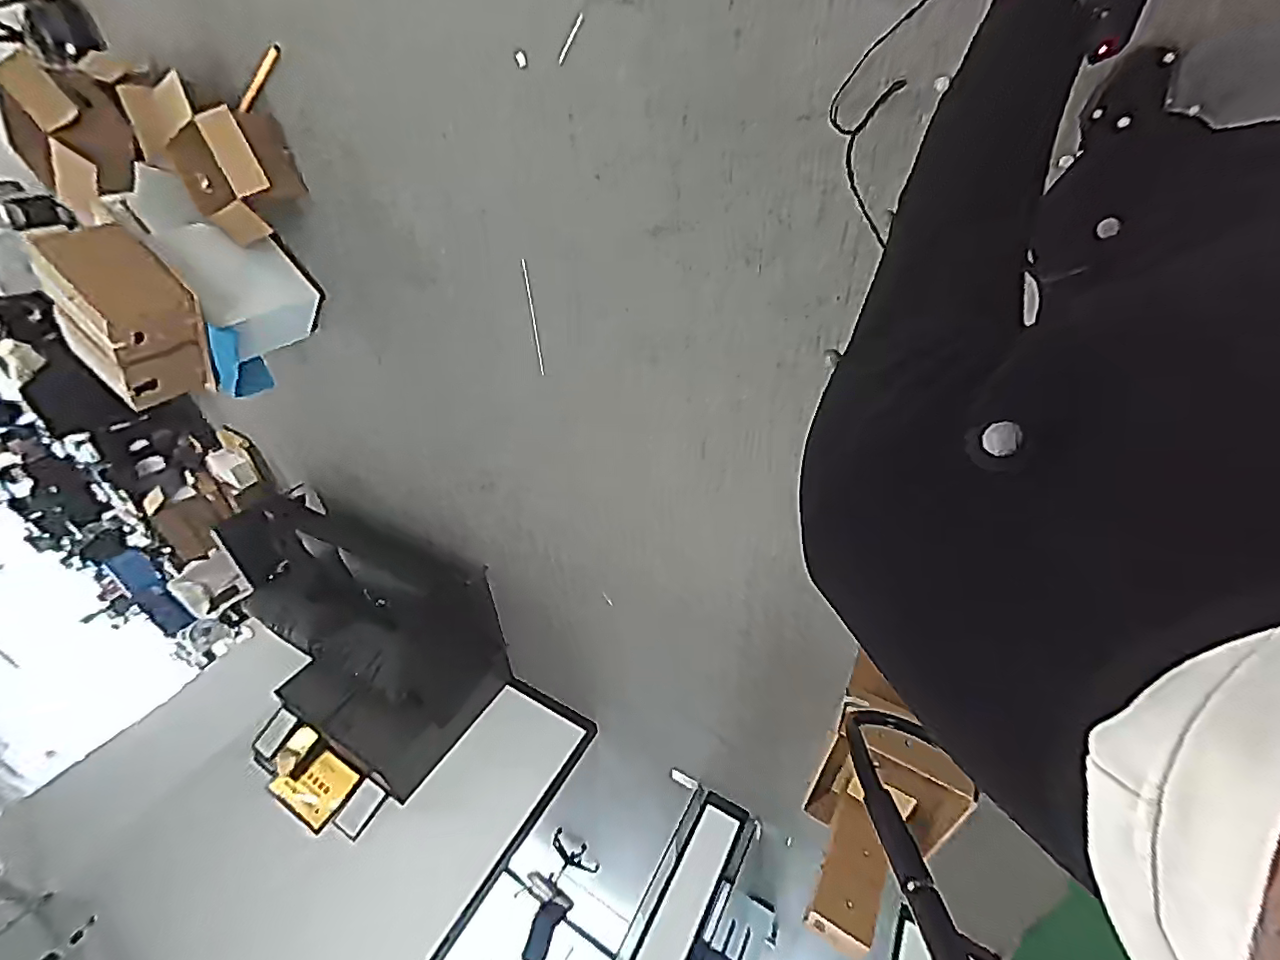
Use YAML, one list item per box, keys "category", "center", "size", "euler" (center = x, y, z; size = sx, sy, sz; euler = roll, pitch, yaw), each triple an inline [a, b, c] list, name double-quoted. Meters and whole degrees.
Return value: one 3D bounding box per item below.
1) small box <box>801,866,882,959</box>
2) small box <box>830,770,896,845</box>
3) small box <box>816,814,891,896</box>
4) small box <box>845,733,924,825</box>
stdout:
- category: "small box"
  center: [0.616, 1.325, 1.653]
  size: [0.179, 0.176, 0.168]
  euler: [20, 131, 22]
- category: "small box"
  center: [0.785, 1.154, 1.877]
  size: [0.179, 0.176, 0.168]
  euler: [22, 132, 22]
- category: "small box"
  center: [0.701, 1.240, 1.766]
  size: [0.179, 0.176, 0.168]
  euler: [21, 130, 22]
- category: "small box"
  center: [0.775, 0.936, 1.711]
  size: [0.179, 0.176, 0.168]
  euler: [19, 132, 24]
